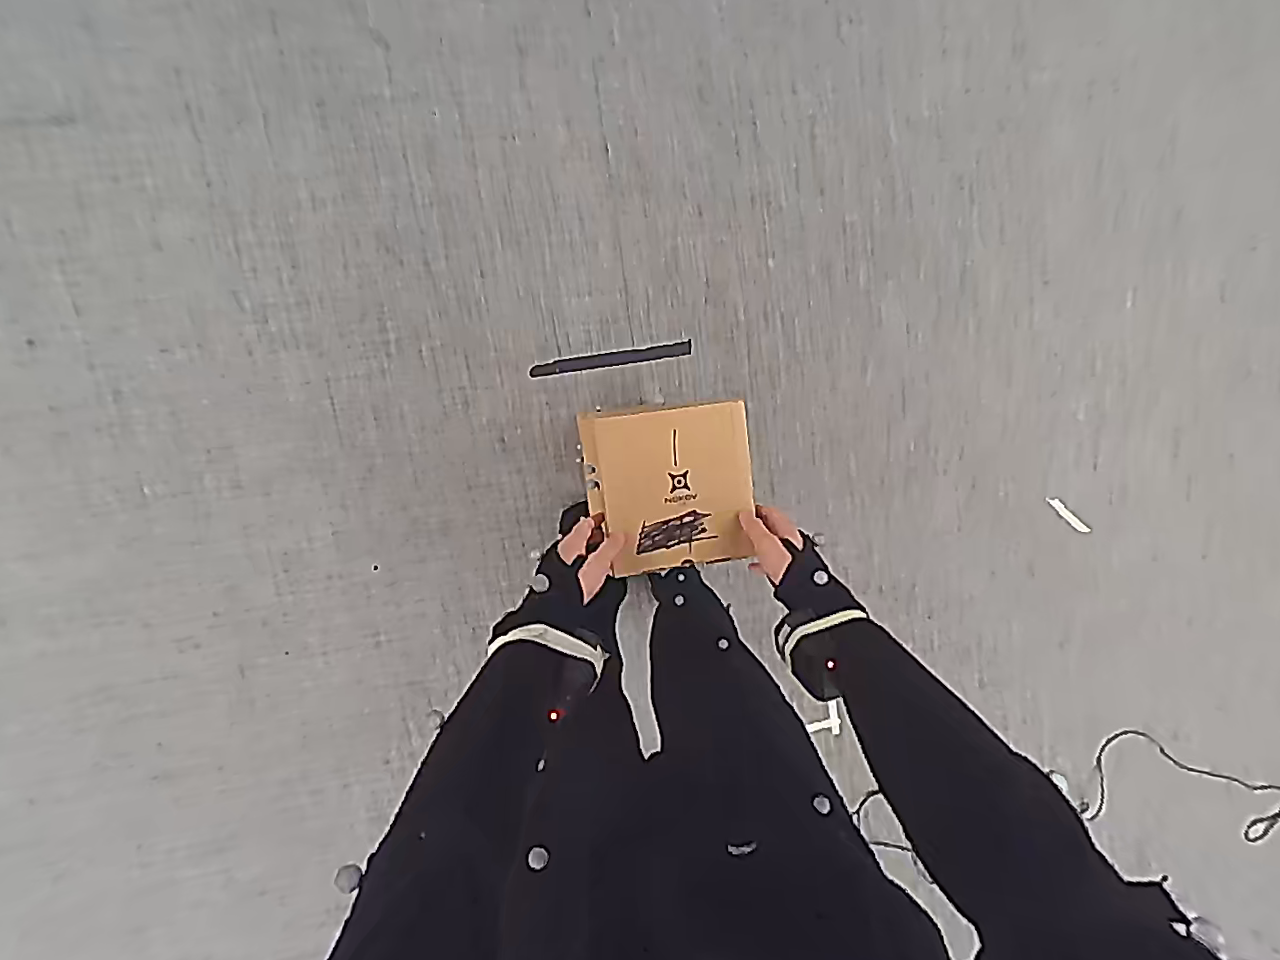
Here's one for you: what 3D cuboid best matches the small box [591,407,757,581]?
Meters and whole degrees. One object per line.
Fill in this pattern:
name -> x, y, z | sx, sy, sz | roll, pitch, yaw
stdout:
small box -> 0.032, 0.005, 0.657 | 0.168, 0.176, 0.179 | -7, 98, -7

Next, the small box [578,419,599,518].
small box -> -0.018, -0.034, 0.979 | 0.179, 0.176, 0.168 | -6, 99, -7
